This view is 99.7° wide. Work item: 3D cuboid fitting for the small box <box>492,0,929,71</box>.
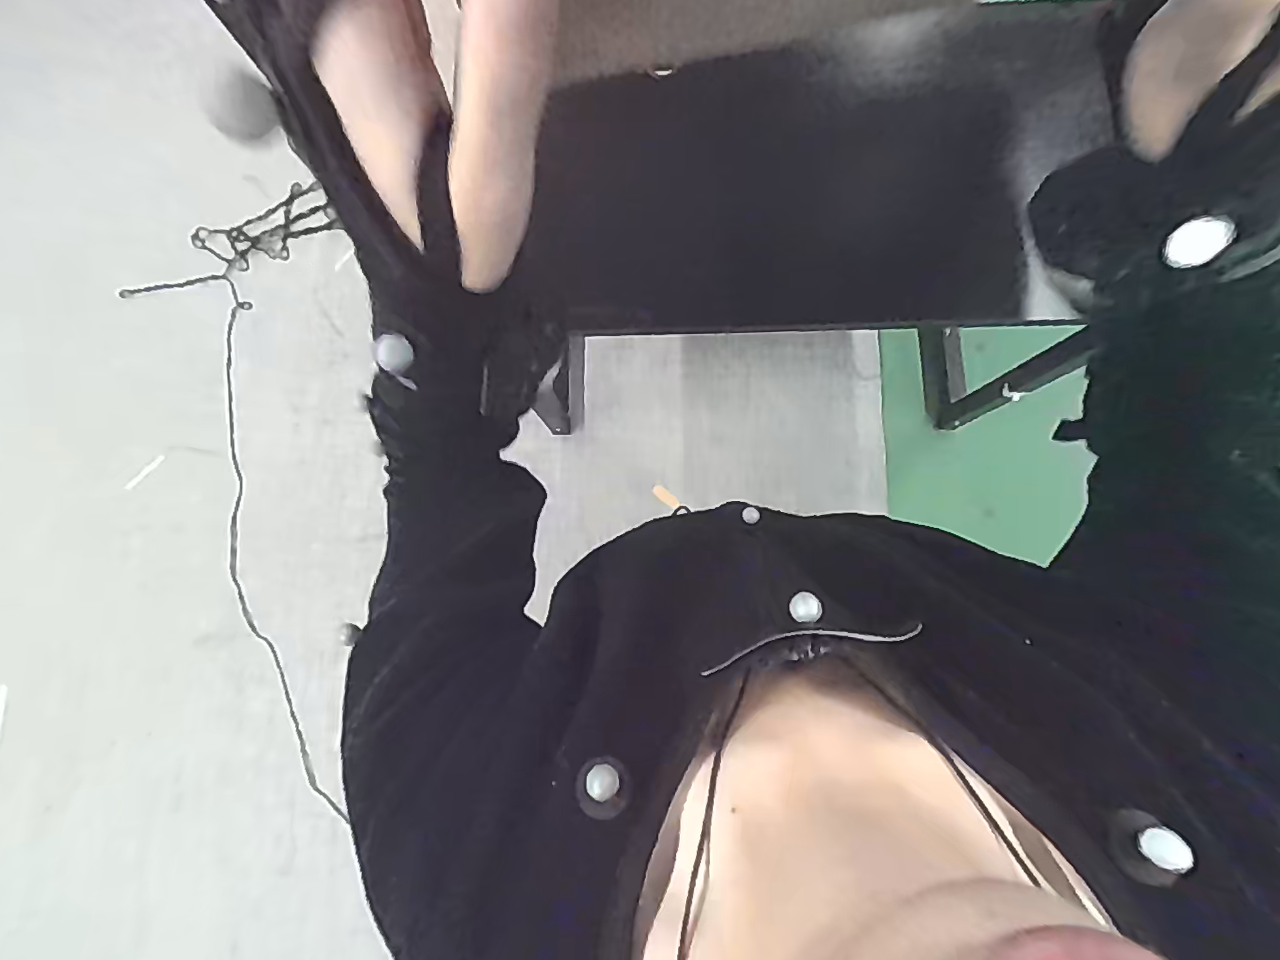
[{"bbox_3d":[0.036,-0.198,0.090,0.179,0.176,0.168,-11,116,0],"label":"small box"}]
